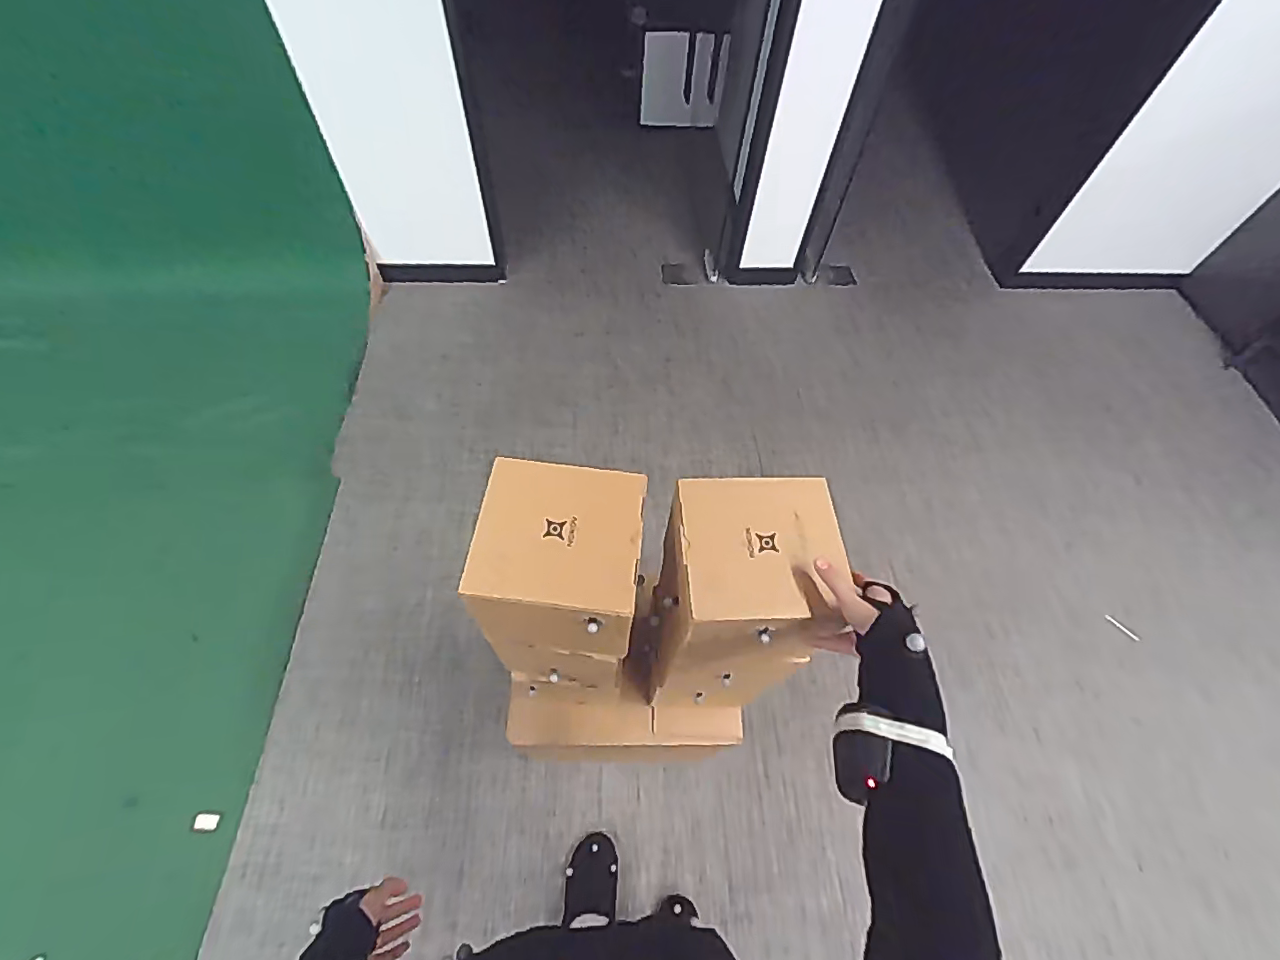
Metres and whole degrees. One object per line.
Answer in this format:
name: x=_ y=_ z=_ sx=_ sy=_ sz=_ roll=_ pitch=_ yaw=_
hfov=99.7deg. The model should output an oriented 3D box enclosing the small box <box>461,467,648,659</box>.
small box: x=-0.089 y=0.105 z=0.642 sx=0.179 sy=0.176 sz=0.168 roll=7 pitch=58 yaw=-1
